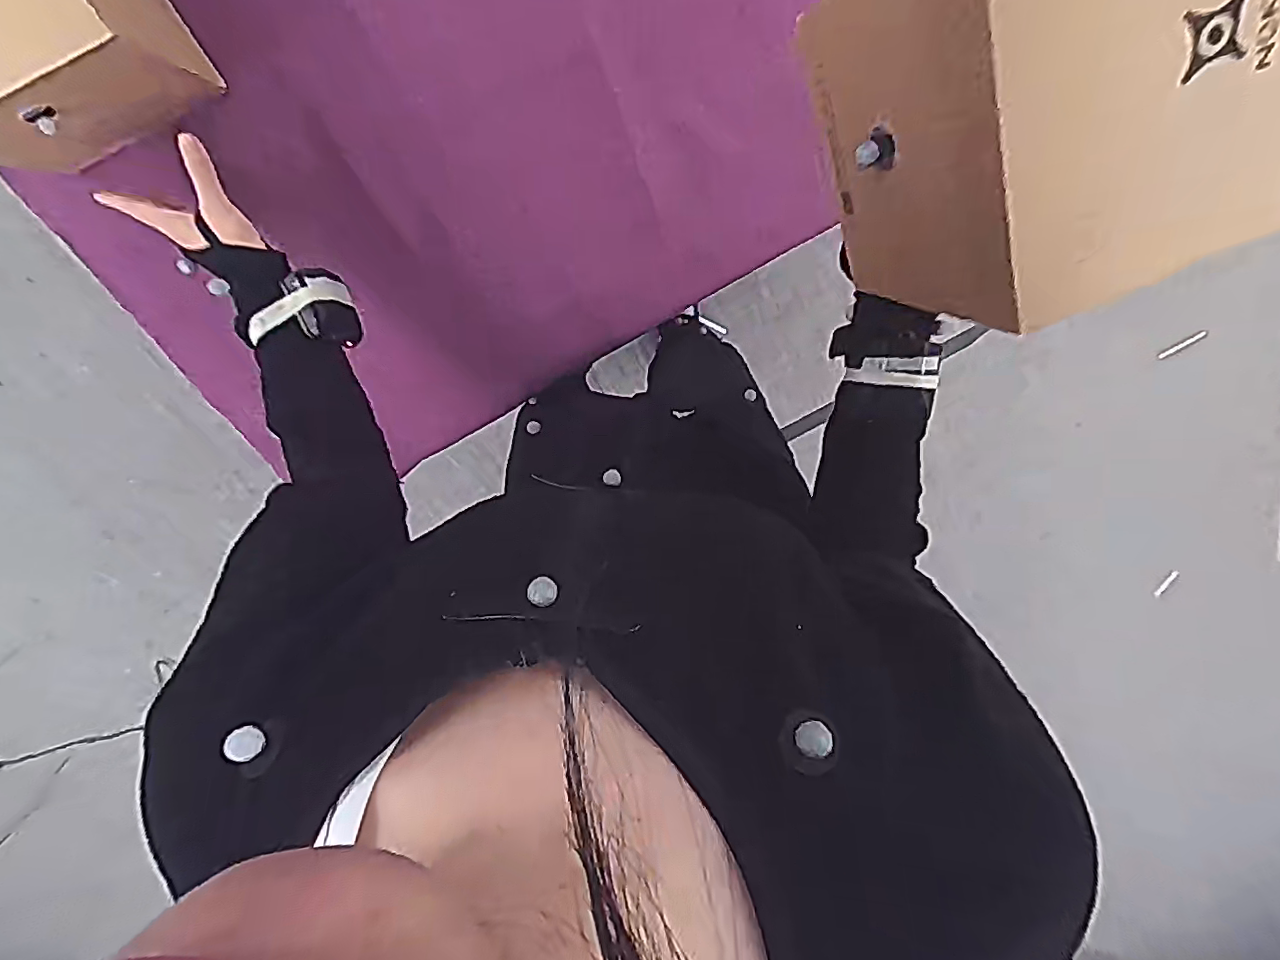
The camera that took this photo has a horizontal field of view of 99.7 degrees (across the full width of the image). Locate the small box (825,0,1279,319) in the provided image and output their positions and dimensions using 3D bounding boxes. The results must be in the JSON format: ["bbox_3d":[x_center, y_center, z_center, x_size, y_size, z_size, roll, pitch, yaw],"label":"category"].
[{"bbox_3d":[0.211,-0.202,0.270,0.179,0.176,0.168,-23,117,5],"label":"small box"}]

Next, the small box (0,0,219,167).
[{"bbox_3d":[-0.485,-0.364,0.411,0.179,0.176,0.168,-27,118,1],"label":"small box"}]
